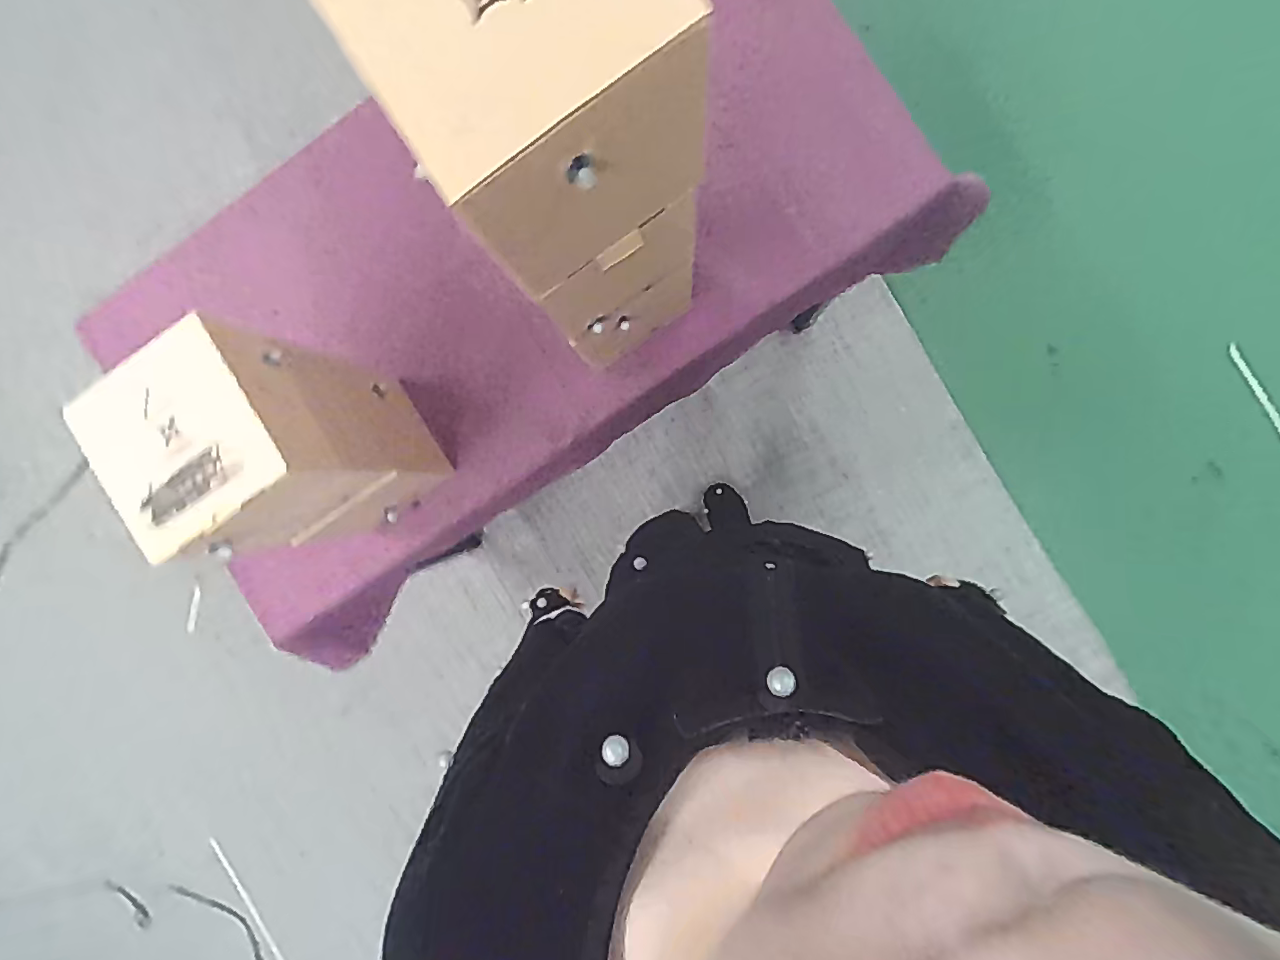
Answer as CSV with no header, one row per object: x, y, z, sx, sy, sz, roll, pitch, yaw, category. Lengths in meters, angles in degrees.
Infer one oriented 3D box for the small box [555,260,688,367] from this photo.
-0.051,-0.272,0.708,0.168,0.176,0.179,-34,87,7,small box

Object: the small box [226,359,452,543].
-0.397,-0.036,0.743,0.168,0.176,0.179,-33,89,5,small box

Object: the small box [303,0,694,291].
-0.075,-0.265,0.379,0.179,0.176,0.168,-33,89,5,small box

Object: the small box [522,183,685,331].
-0.065,-0.271,0.544,0.168,0.176,0.179,-34,87,5,small box
